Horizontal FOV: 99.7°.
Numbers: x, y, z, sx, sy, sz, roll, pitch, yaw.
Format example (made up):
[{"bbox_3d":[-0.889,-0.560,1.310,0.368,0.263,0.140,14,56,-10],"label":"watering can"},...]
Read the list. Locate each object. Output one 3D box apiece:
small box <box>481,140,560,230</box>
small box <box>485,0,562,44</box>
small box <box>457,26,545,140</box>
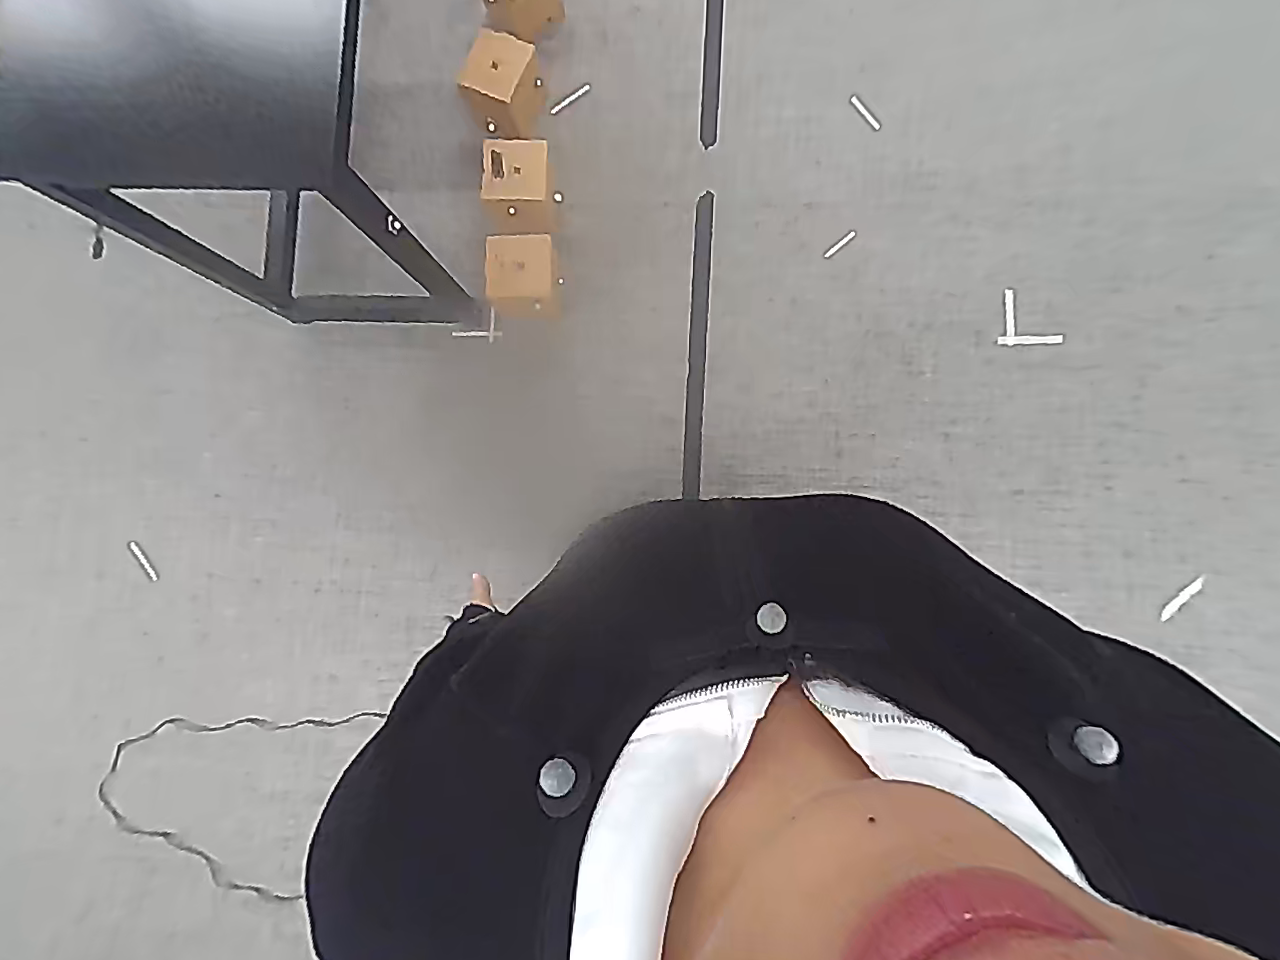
[{"bbox_3d":[-0.330,-0.819,1.514,0.179,0.176,0.168,1,87,2],"label":"small box"},{"bbox_3d":[-0.348,-1.416,1.545,0.168,0.176,0.179,-44,86,0],"label":"small box"},{"bbox_3d":[-0.384,-1.115,1.534,0.168,0.176,0.179,23,90,5],"label":"small box"}]
